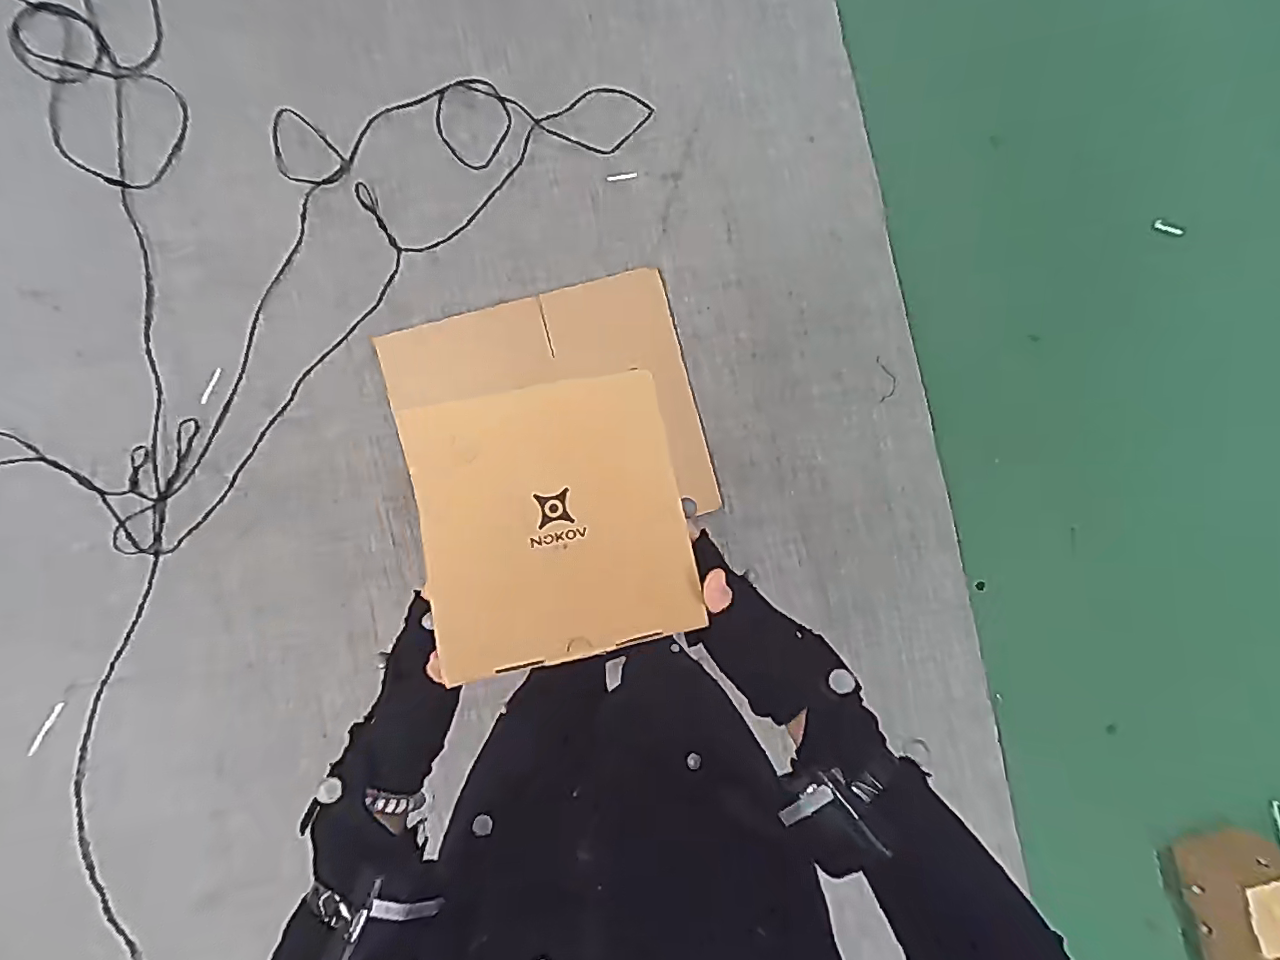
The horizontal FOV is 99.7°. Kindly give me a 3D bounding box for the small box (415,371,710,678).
[{"bbox_3d":[-0.060,0.036,0.425,0.168,0.176,0.179,-11,82,-8],"label":"small box"}]
